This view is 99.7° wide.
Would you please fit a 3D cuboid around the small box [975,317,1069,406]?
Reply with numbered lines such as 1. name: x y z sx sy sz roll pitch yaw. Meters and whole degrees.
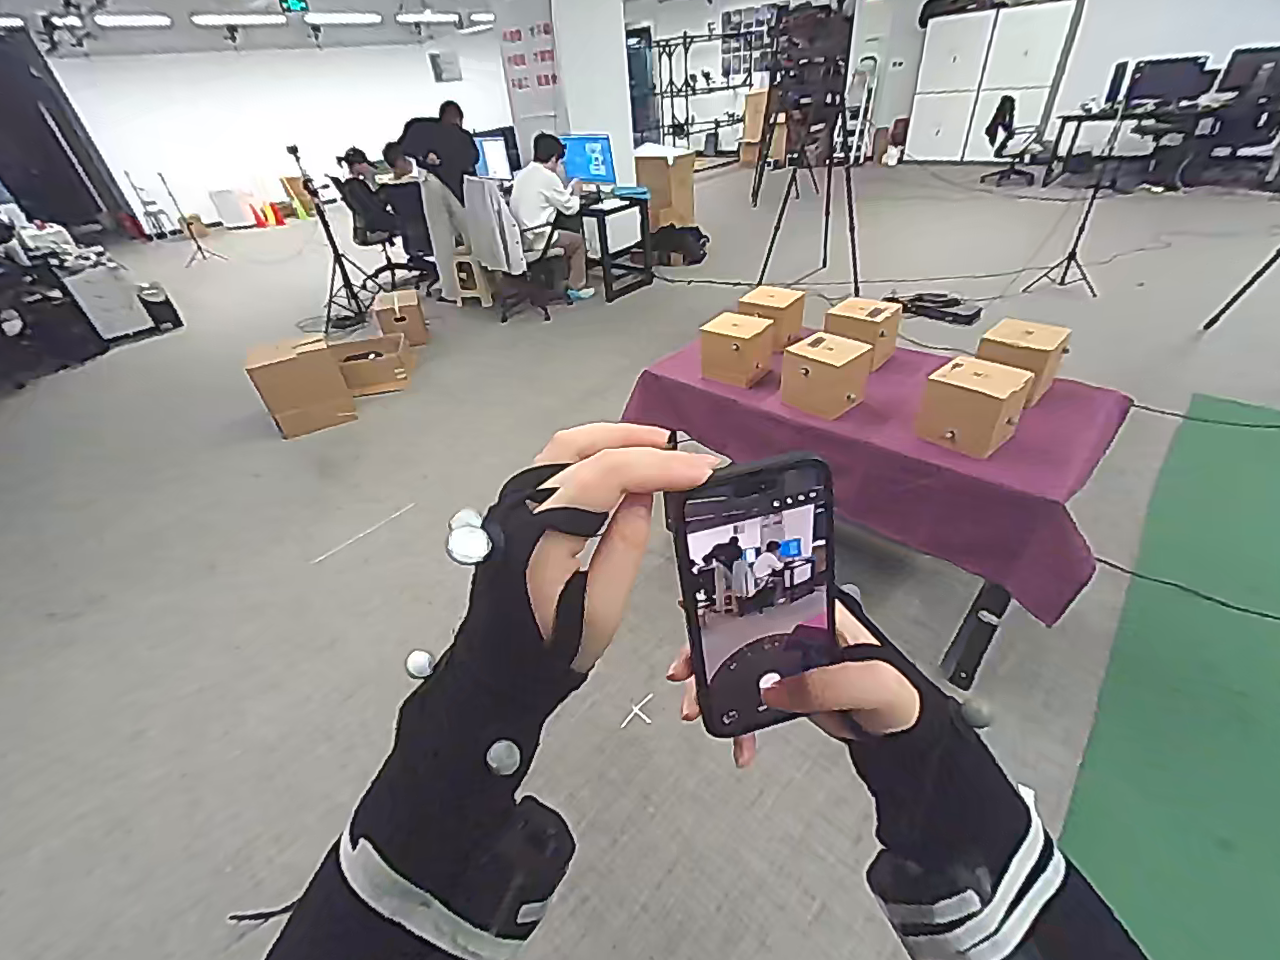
1. small box: 1.039 -0.329 1.499 0.179 0.176 0.168 -33 44 -30

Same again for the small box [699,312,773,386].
1. small box: 0.304 -0.417 1.725 0.179 0.176 0.168 22 44 31

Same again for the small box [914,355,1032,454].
1. small box: 0.814 -0.183 1.336 0.168 0.176 0.179 -29 43 -29

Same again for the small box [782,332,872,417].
1. small box: 0.522 -0.299 1.533 0.168 0.176 0.179 -30 44 -29
